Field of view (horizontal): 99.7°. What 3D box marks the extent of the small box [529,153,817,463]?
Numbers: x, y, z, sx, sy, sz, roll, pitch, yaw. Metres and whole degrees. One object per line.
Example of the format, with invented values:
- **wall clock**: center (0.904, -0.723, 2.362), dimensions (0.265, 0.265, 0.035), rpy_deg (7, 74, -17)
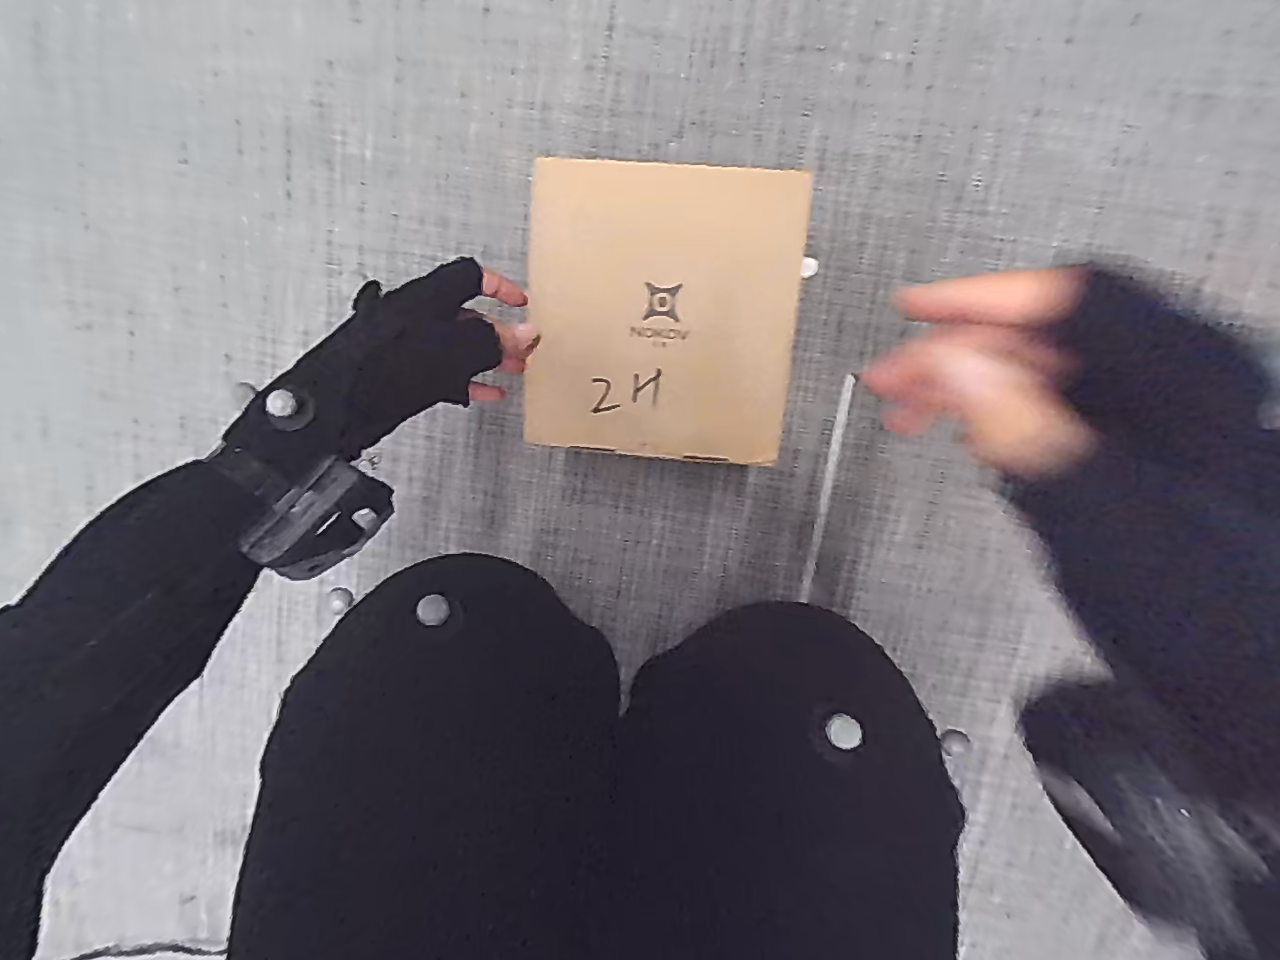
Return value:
- **small box**: center (0.021, -0.117, 0.413), dimensions (0.168, 0.176, 0.179), rpy_deg (6, 101, 4)
